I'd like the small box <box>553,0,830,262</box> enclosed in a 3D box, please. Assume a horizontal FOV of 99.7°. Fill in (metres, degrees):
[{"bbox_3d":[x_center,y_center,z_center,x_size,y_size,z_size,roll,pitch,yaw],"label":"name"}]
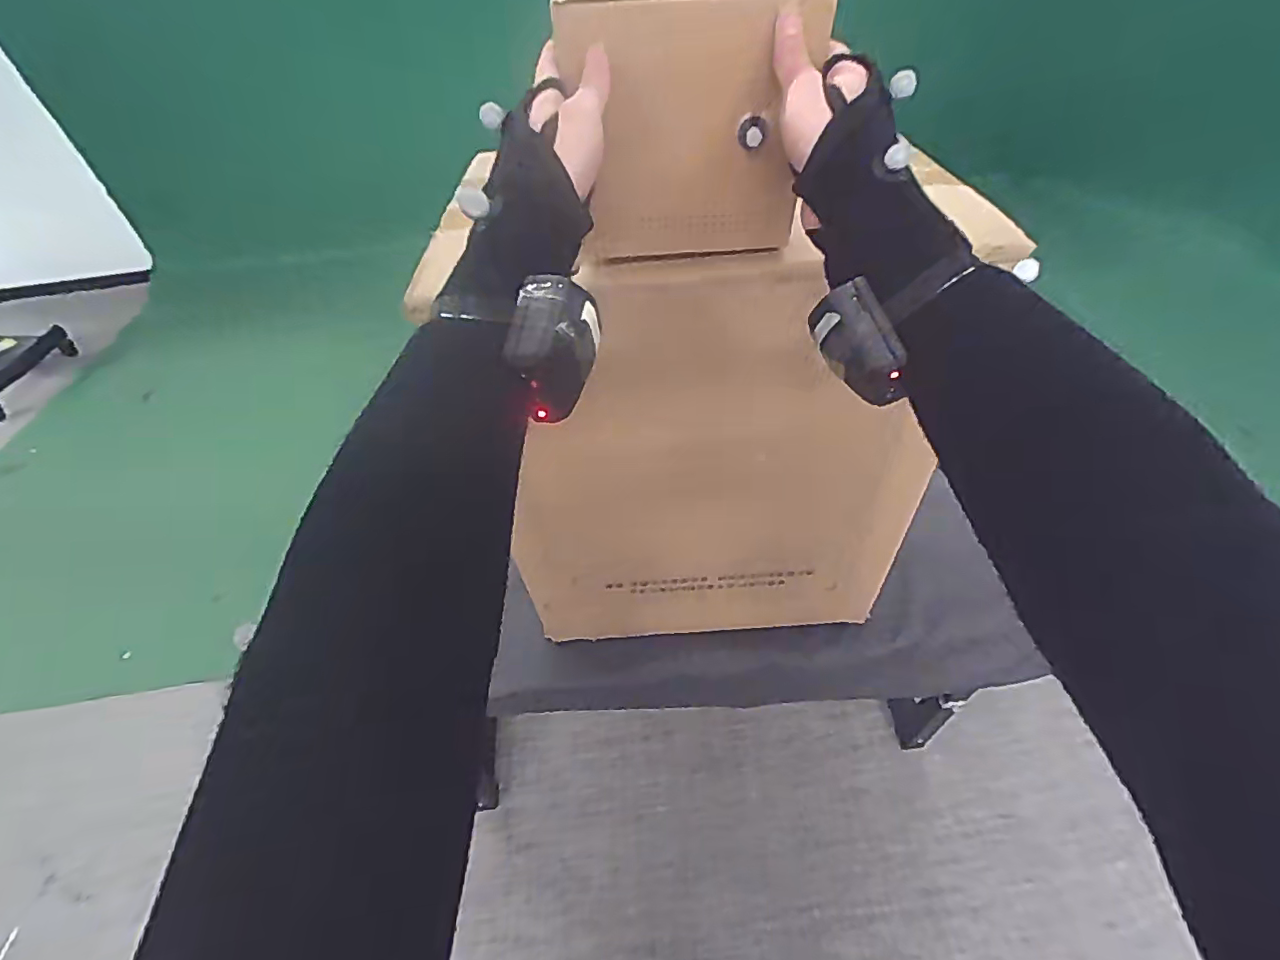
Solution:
[{"bbox_3d":[0.031,-0.301,0.444,0.179,0.176,0.168,-5,52,0],"label":"small box"}]
